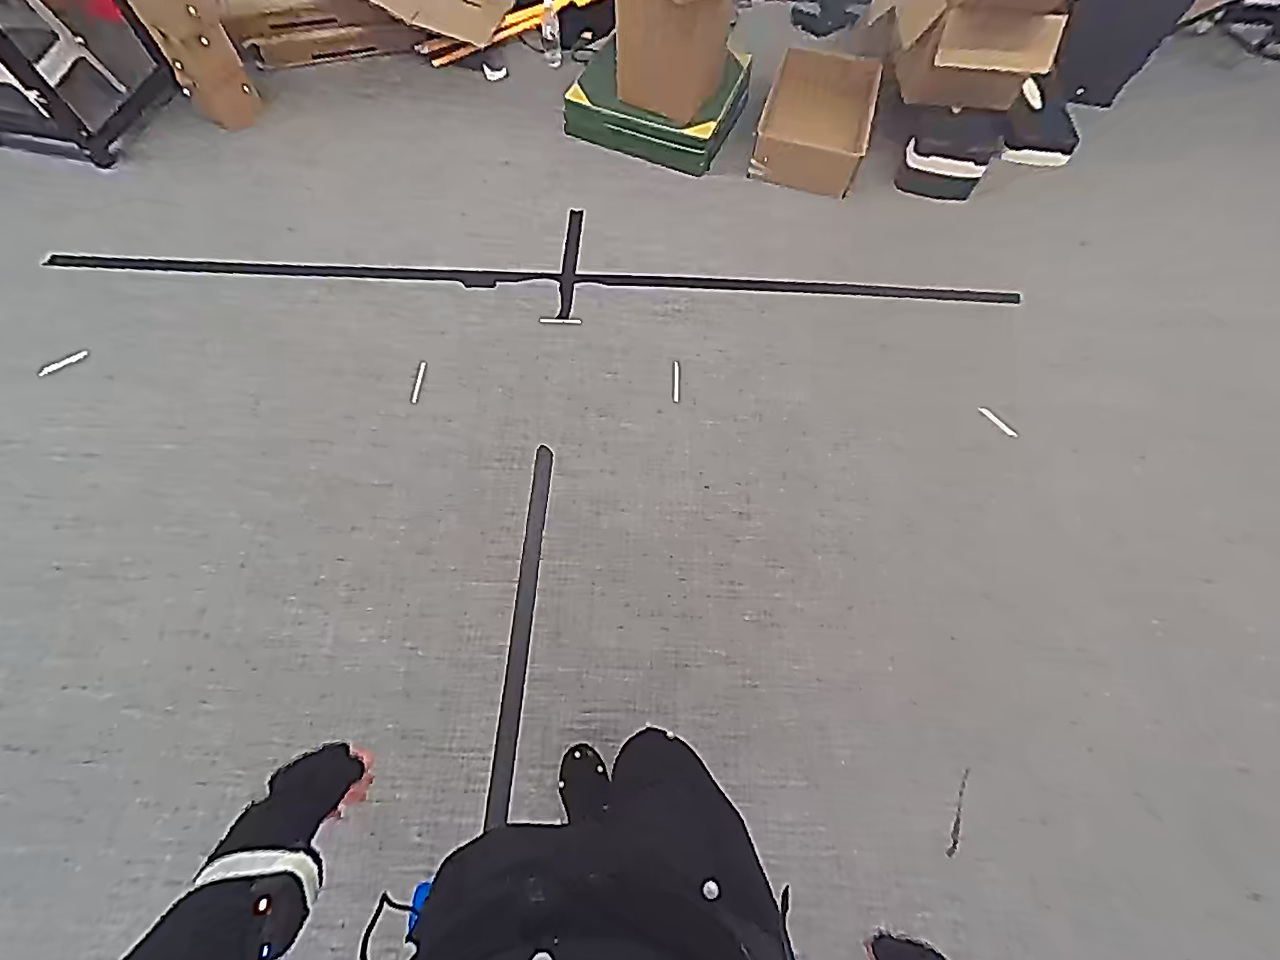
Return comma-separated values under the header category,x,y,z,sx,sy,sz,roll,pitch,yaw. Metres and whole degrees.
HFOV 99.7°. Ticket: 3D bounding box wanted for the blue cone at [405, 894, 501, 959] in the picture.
category,x,y,z,sx,sy,sz,roll,pitch,yaw
blue cone,-0.372,0.874,0.925,0.193,0.380,0.192,2,65,-1
